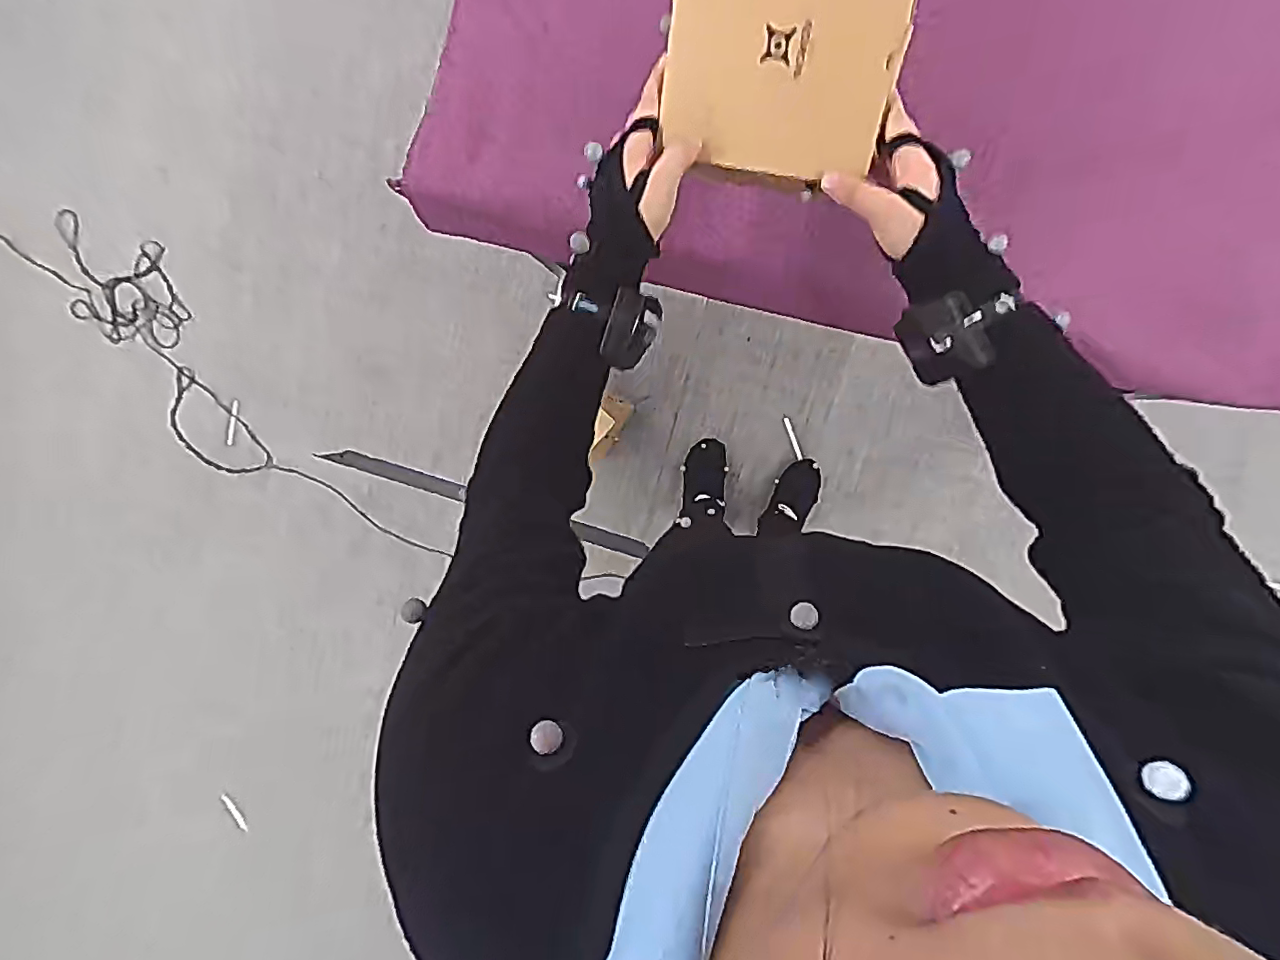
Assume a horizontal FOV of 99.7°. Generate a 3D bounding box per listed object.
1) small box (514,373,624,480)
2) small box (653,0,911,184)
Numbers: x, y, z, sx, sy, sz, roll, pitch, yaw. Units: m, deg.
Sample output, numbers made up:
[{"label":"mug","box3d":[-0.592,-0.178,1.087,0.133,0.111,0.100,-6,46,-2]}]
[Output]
[{"label":"small box","box3d":[-0.153,-0.128,1.245,0.168,0.176,0.179,43,102,-2]},{"label":"small box","box3d":[0.114,-0.367,0.474,0.179,0.176,0.168,9,115,1]}]
